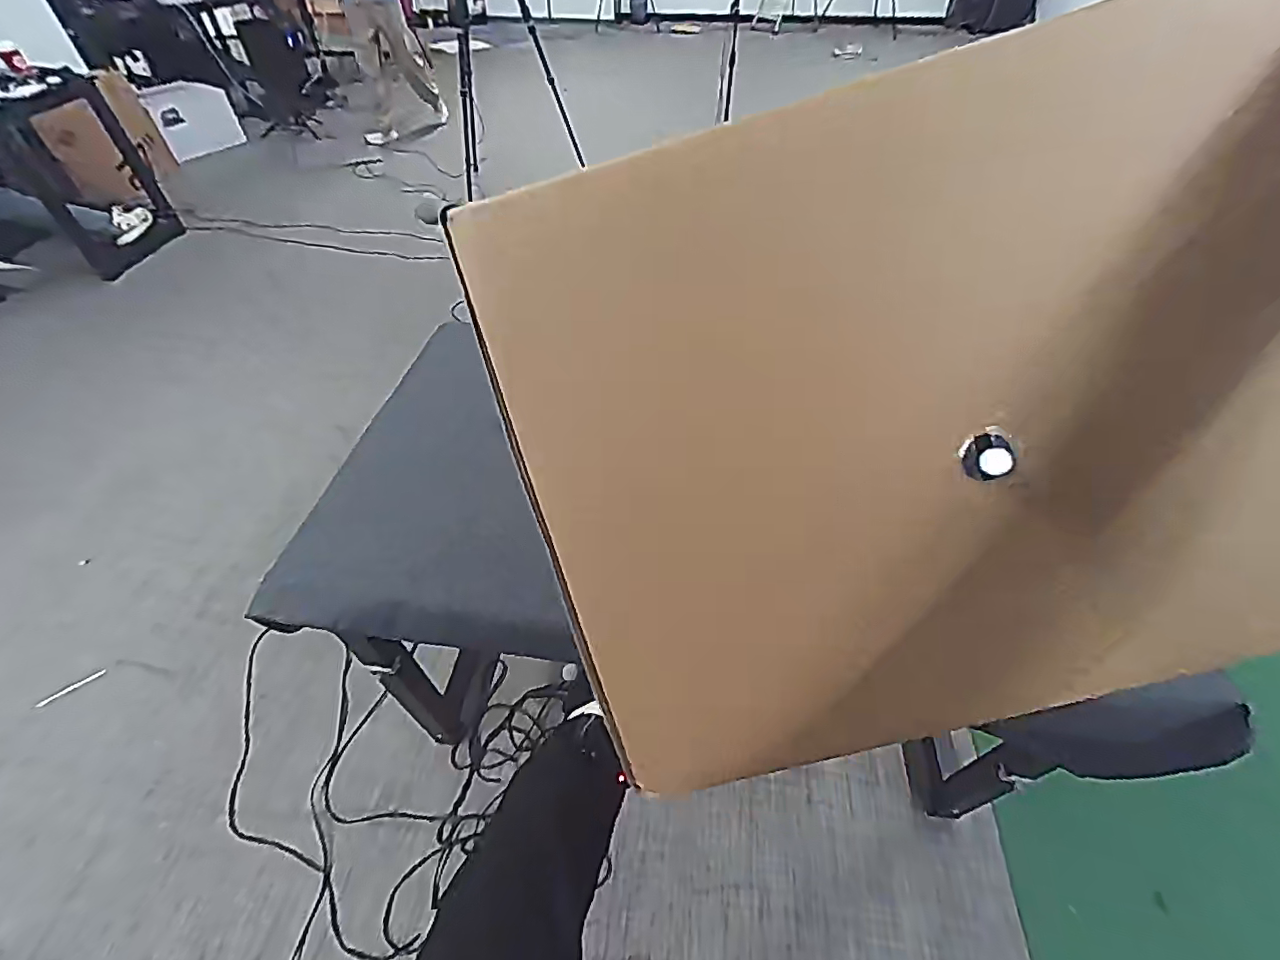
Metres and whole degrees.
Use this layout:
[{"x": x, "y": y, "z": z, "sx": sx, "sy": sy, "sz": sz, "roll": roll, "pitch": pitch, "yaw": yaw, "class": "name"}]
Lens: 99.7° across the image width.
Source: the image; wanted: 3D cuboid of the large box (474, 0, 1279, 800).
[{"x": 0.157, "y": -0.047, "z": 0.404, "sx": 0.408, "sy": 0.320, "sz": 0.320, "roll": -17, "pitch": 12, "yaw": 3, "class": "large box"}]
